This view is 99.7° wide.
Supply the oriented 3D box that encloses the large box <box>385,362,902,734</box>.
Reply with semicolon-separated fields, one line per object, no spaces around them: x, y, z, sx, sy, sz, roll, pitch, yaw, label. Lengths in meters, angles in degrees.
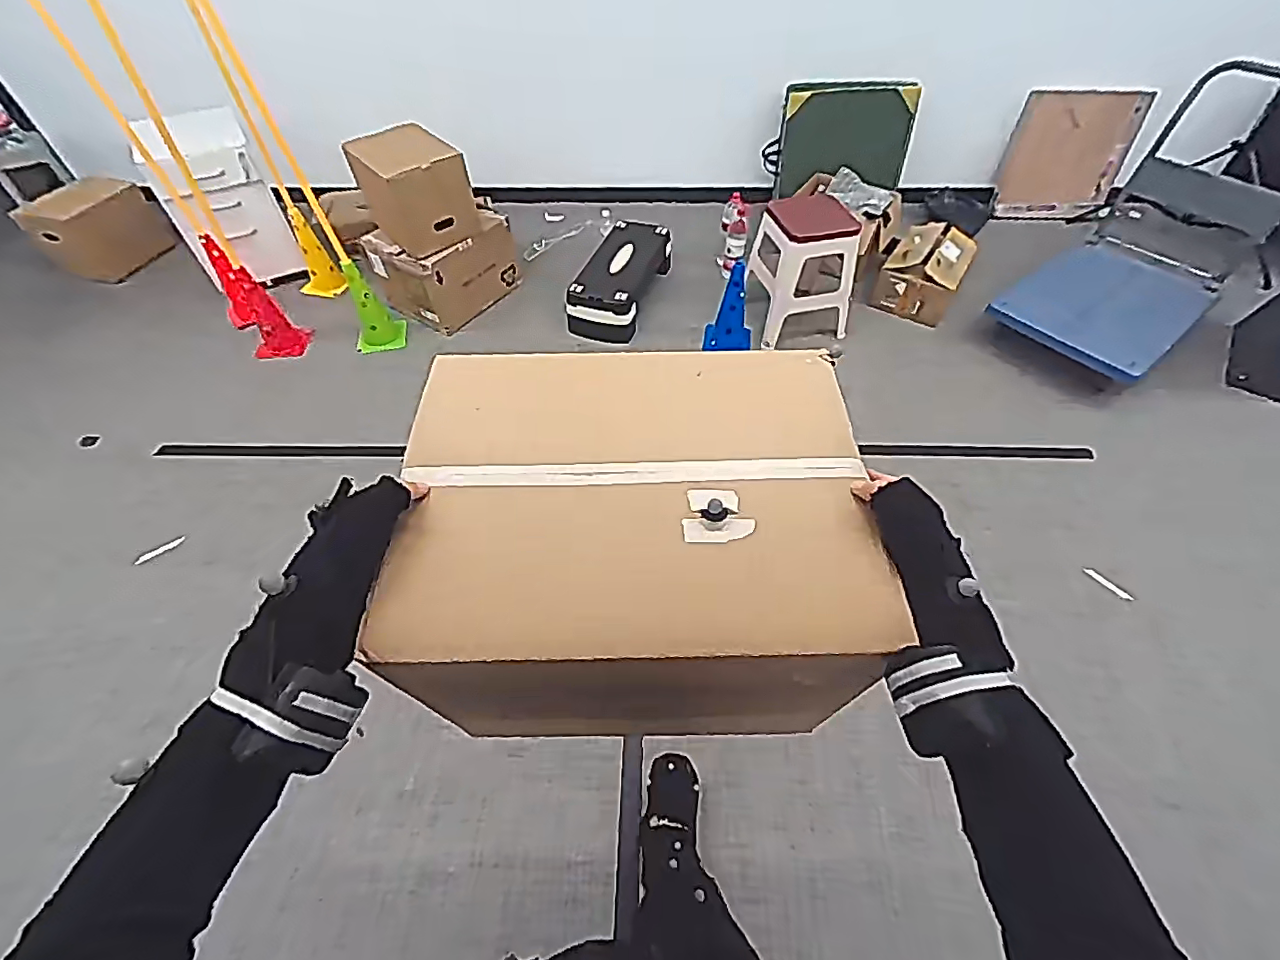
-0.001;0.087;0.614;0.408;0.320;0.320;-1;55;0;large box
